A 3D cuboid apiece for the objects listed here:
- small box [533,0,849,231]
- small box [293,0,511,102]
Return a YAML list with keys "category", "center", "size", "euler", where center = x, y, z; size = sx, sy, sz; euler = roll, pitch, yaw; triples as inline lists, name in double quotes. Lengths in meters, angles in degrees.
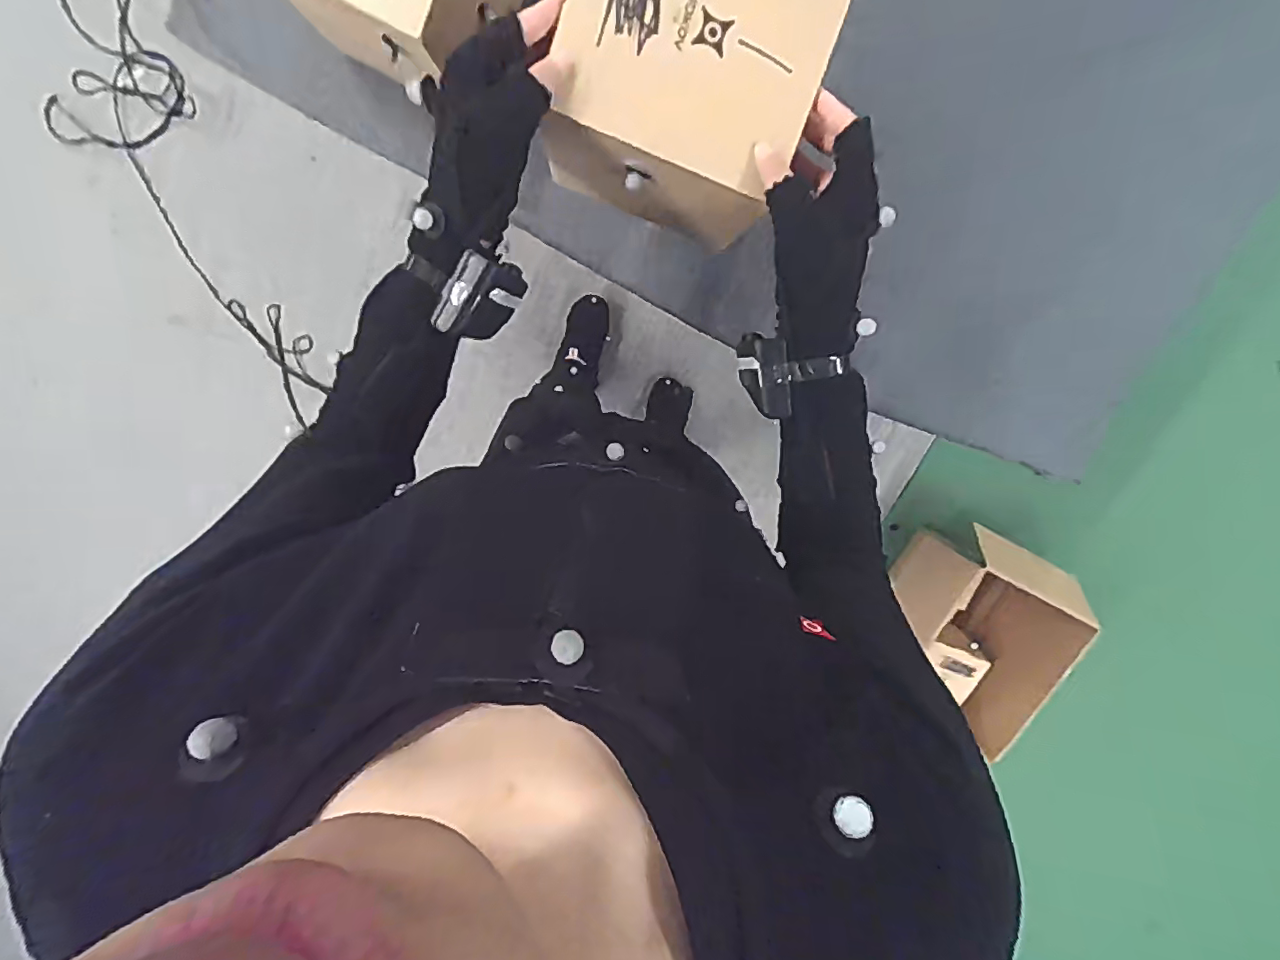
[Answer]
- category: "small box"
  center: [0.034, -0.316, 0.420]
  size: [0.179, 0.176, 0.168]
  euler: [19, 102, -9]
- category: "small box"
  center: [-0.237, -0.513, 0.526]
  size: [0.179, 0.176, 0.168]
  euler: [25, 102, -4]
